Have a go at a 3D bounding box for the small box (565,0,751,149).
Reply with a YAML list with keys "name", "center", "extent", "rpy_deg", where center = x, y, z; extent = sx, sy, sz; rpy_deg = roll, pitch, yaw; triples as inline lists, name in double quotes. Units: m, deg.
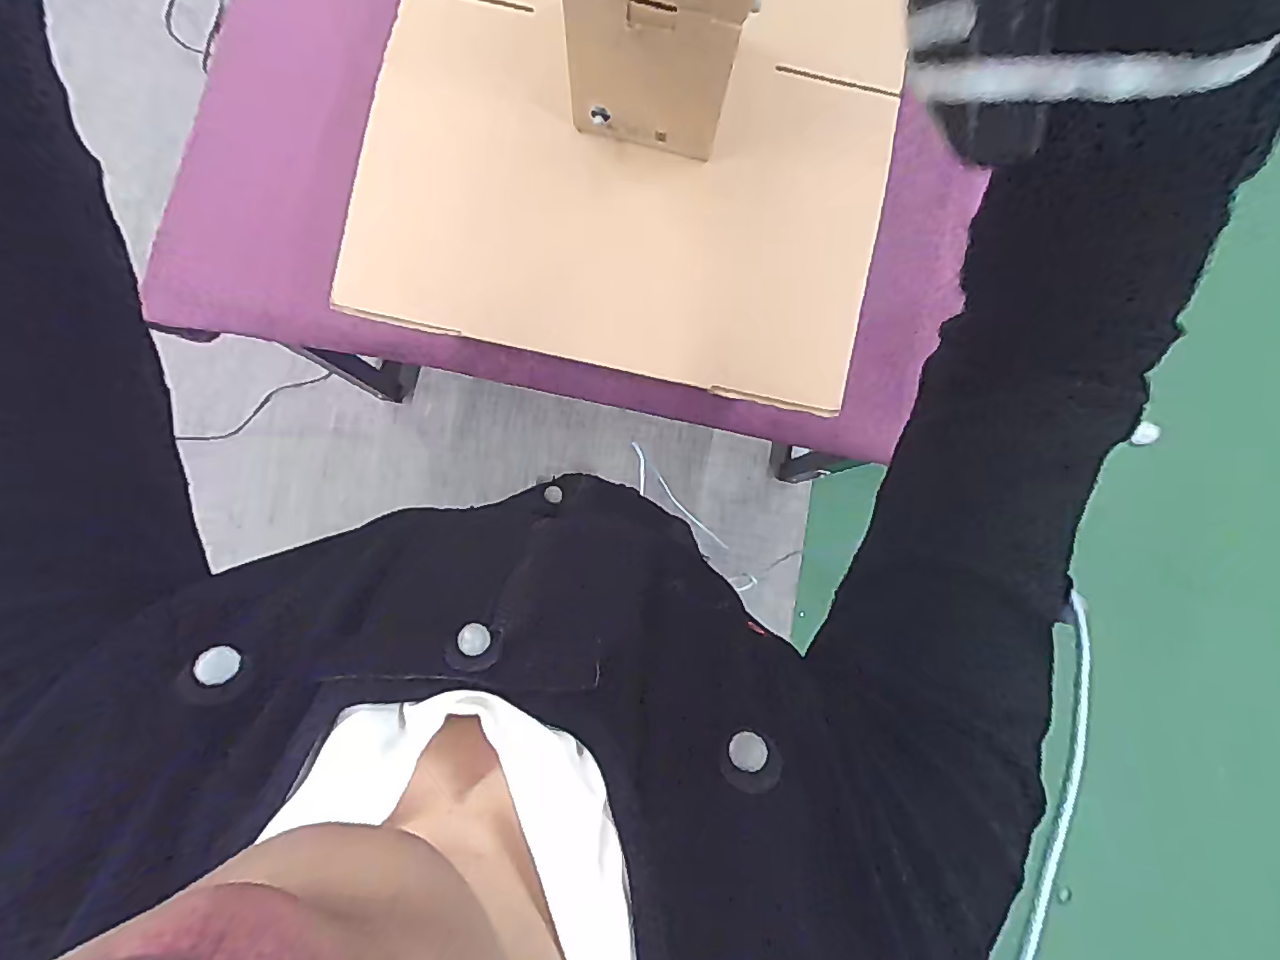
- name: "small box"
  center: [0.025, -0.485, 0.558]
  extent: [0.168, 0.176, 0.179]
  rpy_deg: [9, 84, -2]
